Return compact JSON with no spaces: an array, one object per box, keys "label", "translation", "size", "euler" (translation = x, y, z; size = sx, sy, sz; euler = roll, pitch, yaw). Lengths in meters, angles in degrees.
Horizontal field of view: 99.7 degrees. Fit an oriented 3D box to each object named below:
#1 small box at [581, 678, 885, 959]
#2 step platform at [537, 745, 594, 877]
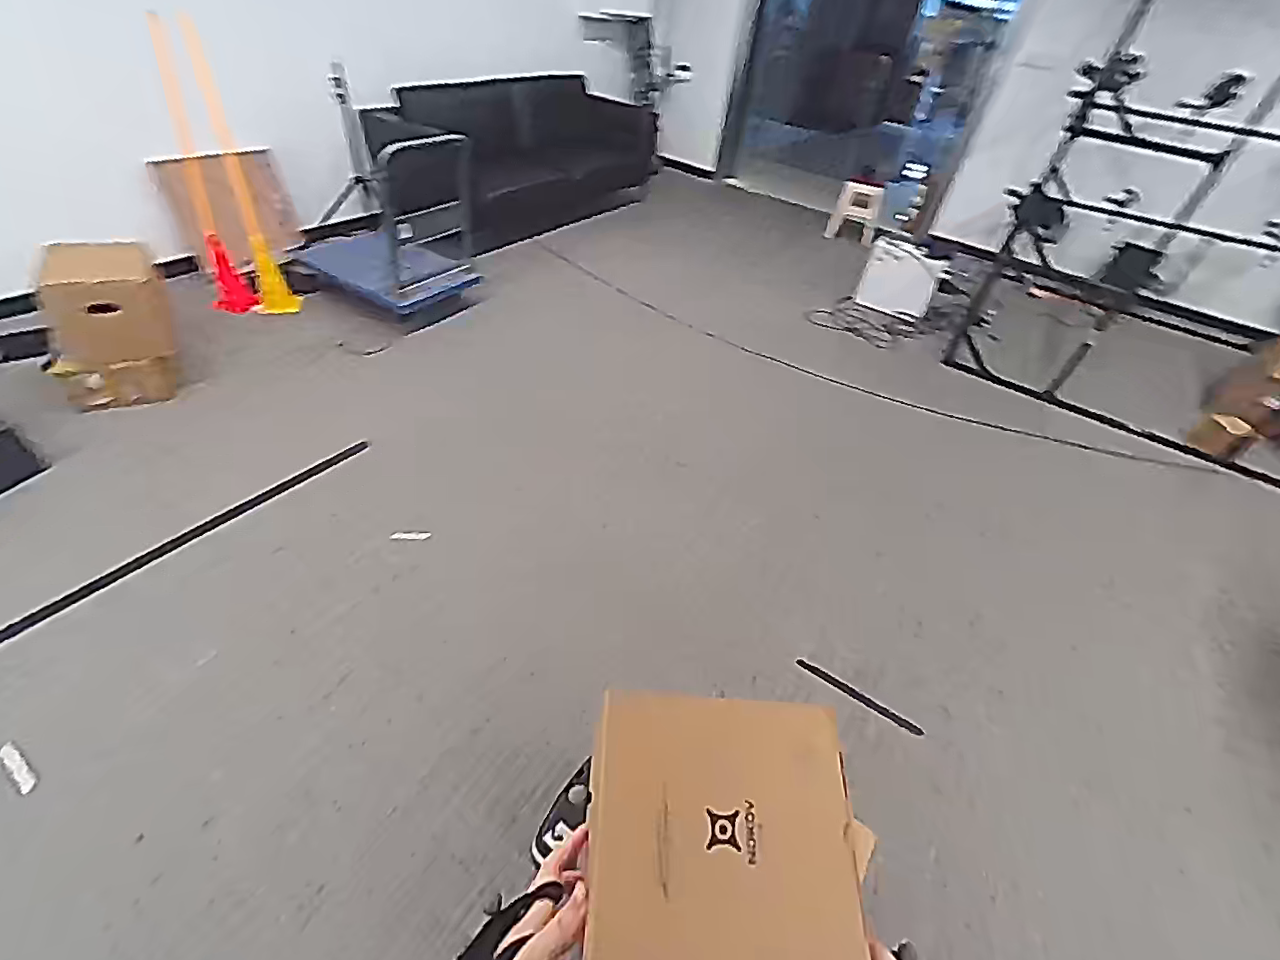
[{"label":"small box","translation":[0.052,0.259,0.414],"size":[0.179,0.176,0.168],"euler":[5,58,-5]},{"label":"step platform","translation":[0.096,0.865,1.140],"size":[0.684,0.204,0.286],"euler":[33,48,26]}]
